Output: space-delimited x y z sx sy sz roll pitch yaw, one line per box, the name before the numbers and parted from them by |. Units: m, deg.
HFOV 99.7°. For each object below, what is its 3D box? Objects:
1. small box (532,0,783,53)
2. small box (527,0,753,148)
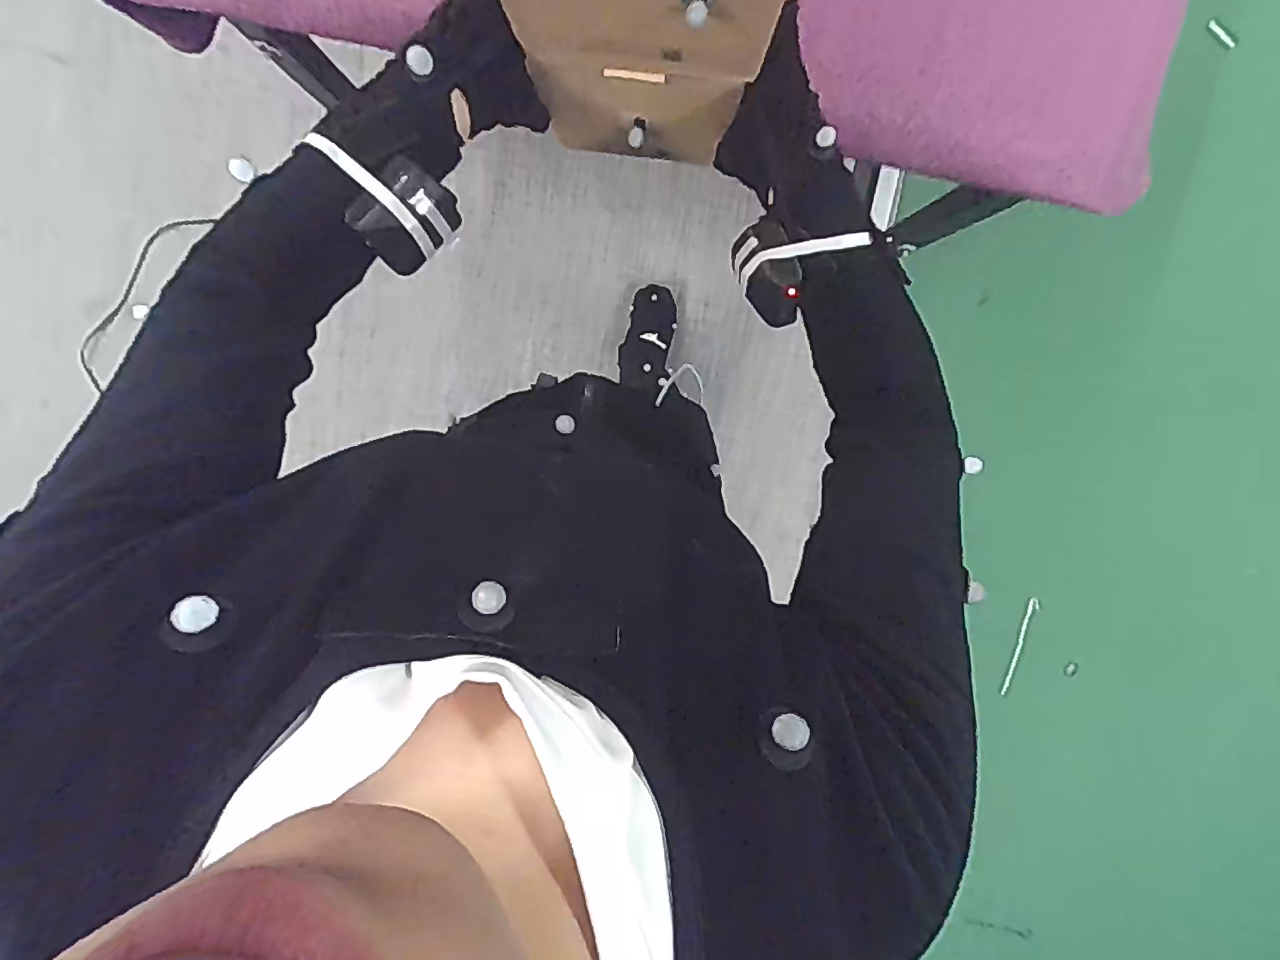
small box | 0.012 -0.356 0.267 0.168 0.176 0.179 6 103 0
small box | 0.009 -0.398 0.444 0.168 0.176 0.179 4 102 2
